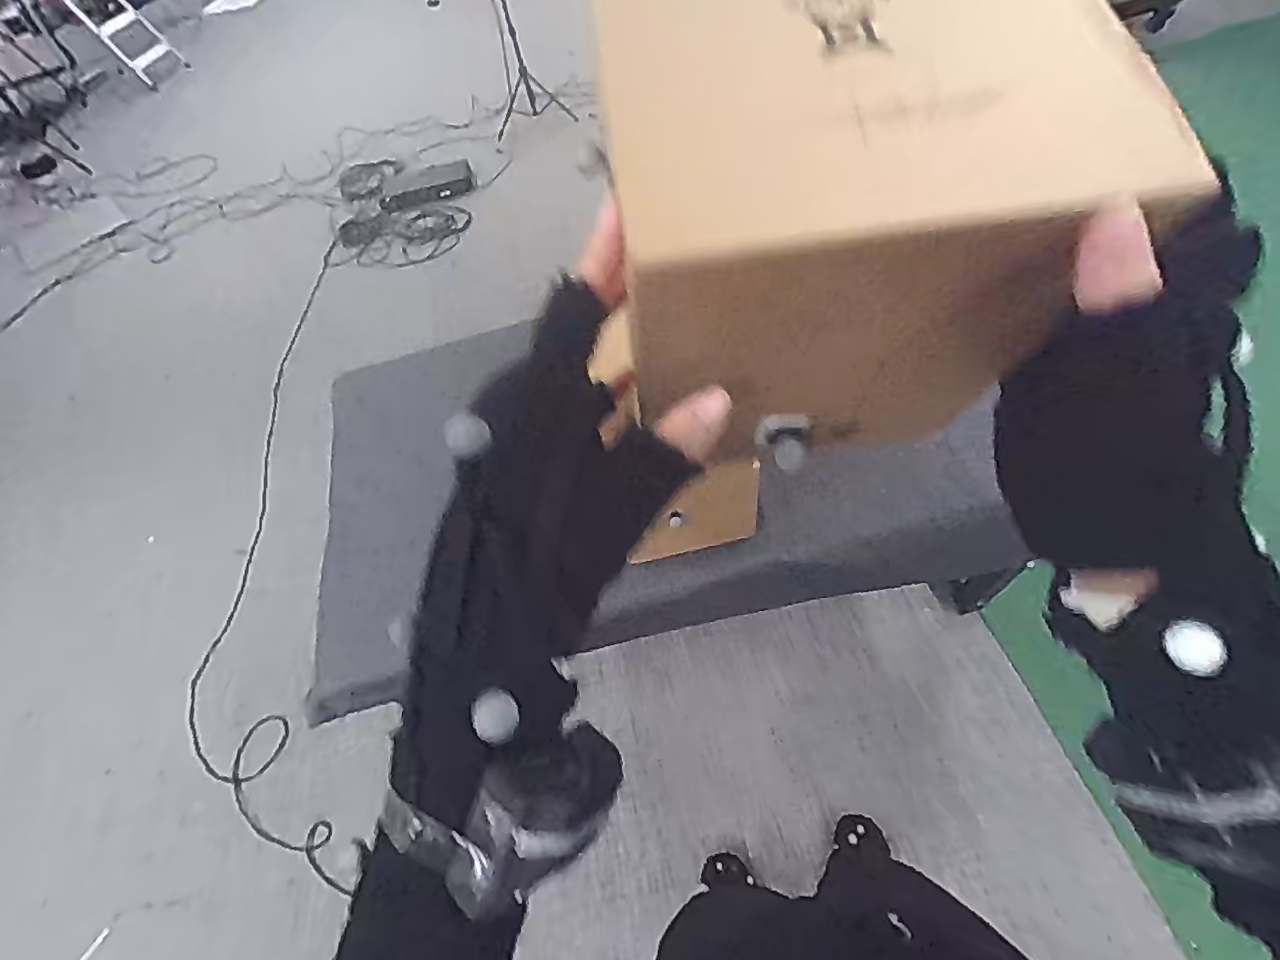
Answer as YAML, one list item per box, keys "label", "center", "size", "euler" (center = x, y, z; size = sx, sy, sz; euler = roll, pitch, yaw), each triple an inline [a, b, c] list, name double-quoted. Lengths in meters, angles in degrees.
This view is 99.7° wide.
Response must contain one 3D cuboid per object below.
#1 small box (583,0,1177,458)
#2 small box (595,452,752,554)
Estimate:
- label: "small box"
  center: [0.066, -0.128, 0.257]
  size: [0.168, 0.176, 0.179]
  euler: [-8, 71, 0]
- label: "small box"
  center: [0.041, -0.019, 0.709]
  size: [0.179, 0.176, 0.168]
  euler: [-13, 56, 1]
